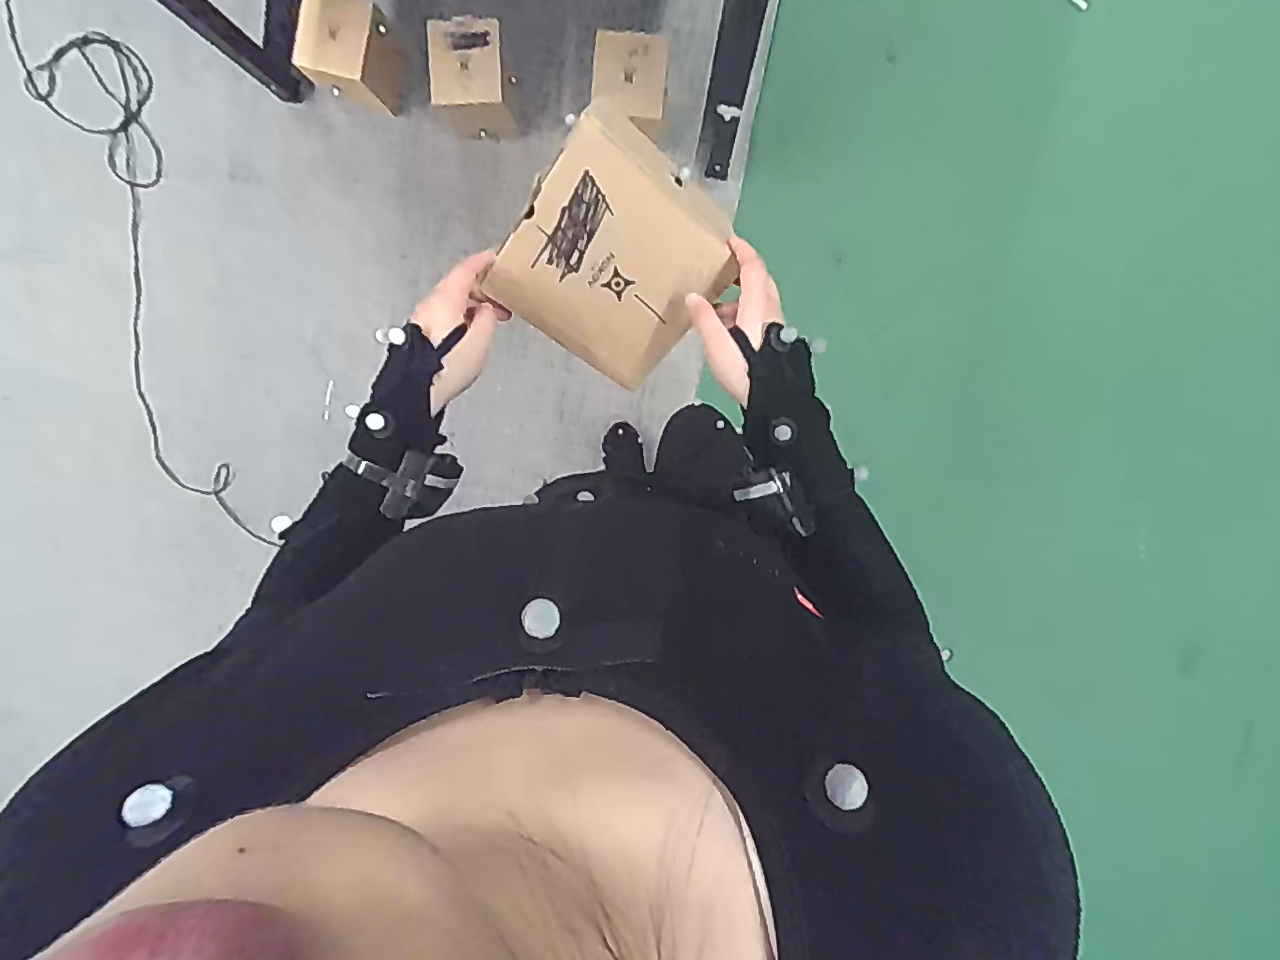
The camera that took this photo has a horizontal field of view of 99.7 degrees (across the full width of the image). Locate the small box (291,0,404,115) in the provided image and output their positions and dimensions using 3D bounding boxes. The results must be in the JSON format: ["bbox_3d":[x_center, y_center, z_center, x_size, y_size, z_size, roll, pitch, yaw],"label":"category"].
[{"bbox_3d":[-0.694,-1.024,1.300,0.168,0.176,0.179,15,98,1],"label":"small box"}]

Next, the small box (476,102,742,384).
[{"bbox_3d":[-0.028,-0.235,0.531,0.179,0.176,0.168,32,123,-24],"label":"small box"}]

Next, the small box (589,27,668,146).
[{"bbox_3d":[-0.023,-0.914,1.276,0.168,0.176,0.179,6,98,2],"label":"small box"}]
